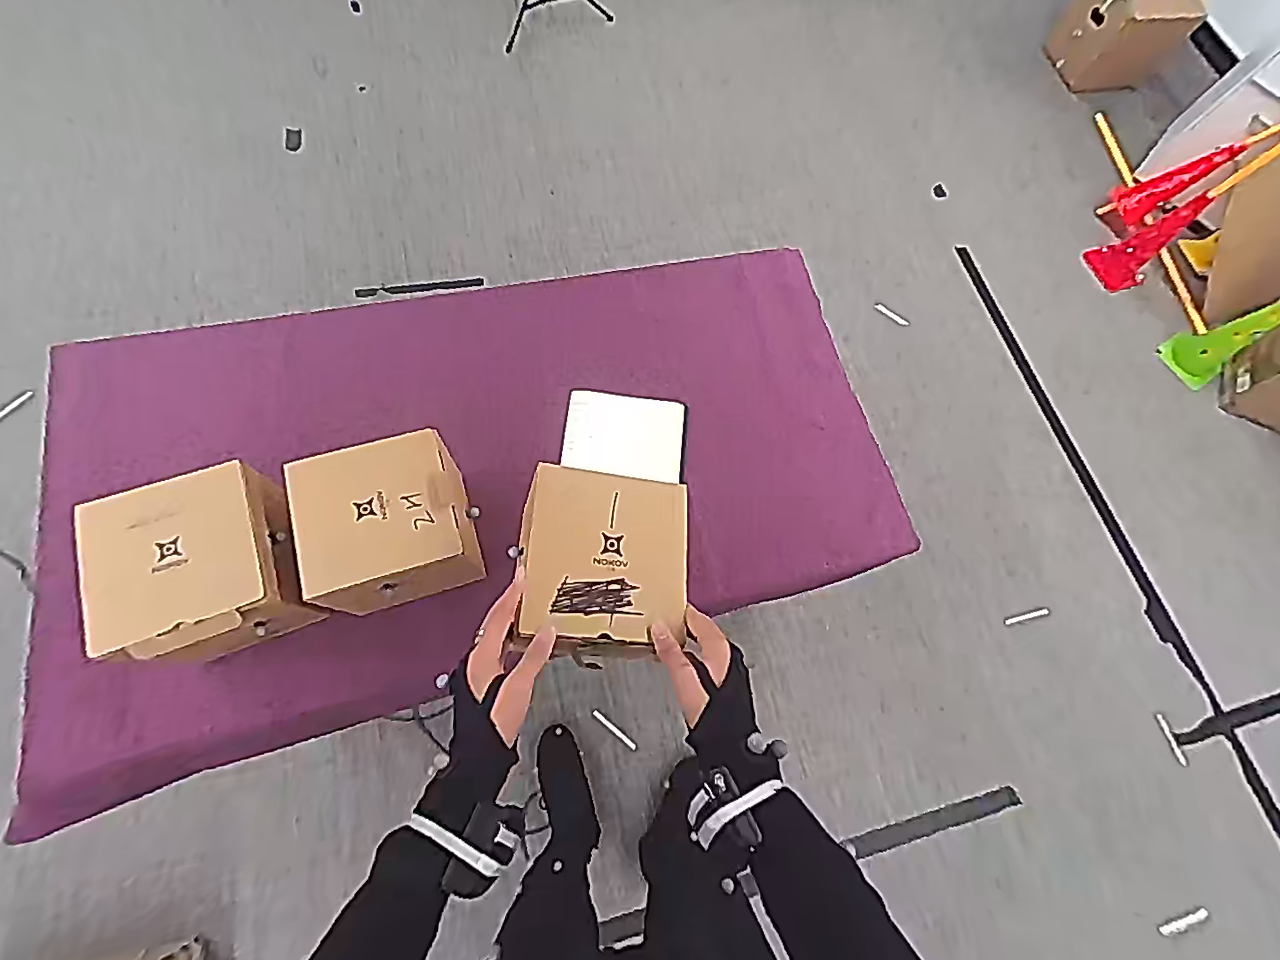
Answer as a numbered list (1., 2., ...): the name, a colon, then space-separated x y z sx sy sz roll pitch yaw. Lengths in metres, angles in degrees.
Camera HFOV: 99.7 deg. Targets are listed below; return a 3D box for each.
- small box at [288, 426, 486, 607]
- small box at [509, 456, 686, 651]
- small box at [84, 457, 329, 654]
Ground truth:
1. small box: -0.313 0.055 0.697 0.179 0.176 0.168 -15 73 -12
2. small box: -0.054 0.095 0.616 0.168 0.176 0.179 9 65 -14
3. small box: -0.510 0.100 0.660 0.168 0.176 0.179 -19 73 -14
